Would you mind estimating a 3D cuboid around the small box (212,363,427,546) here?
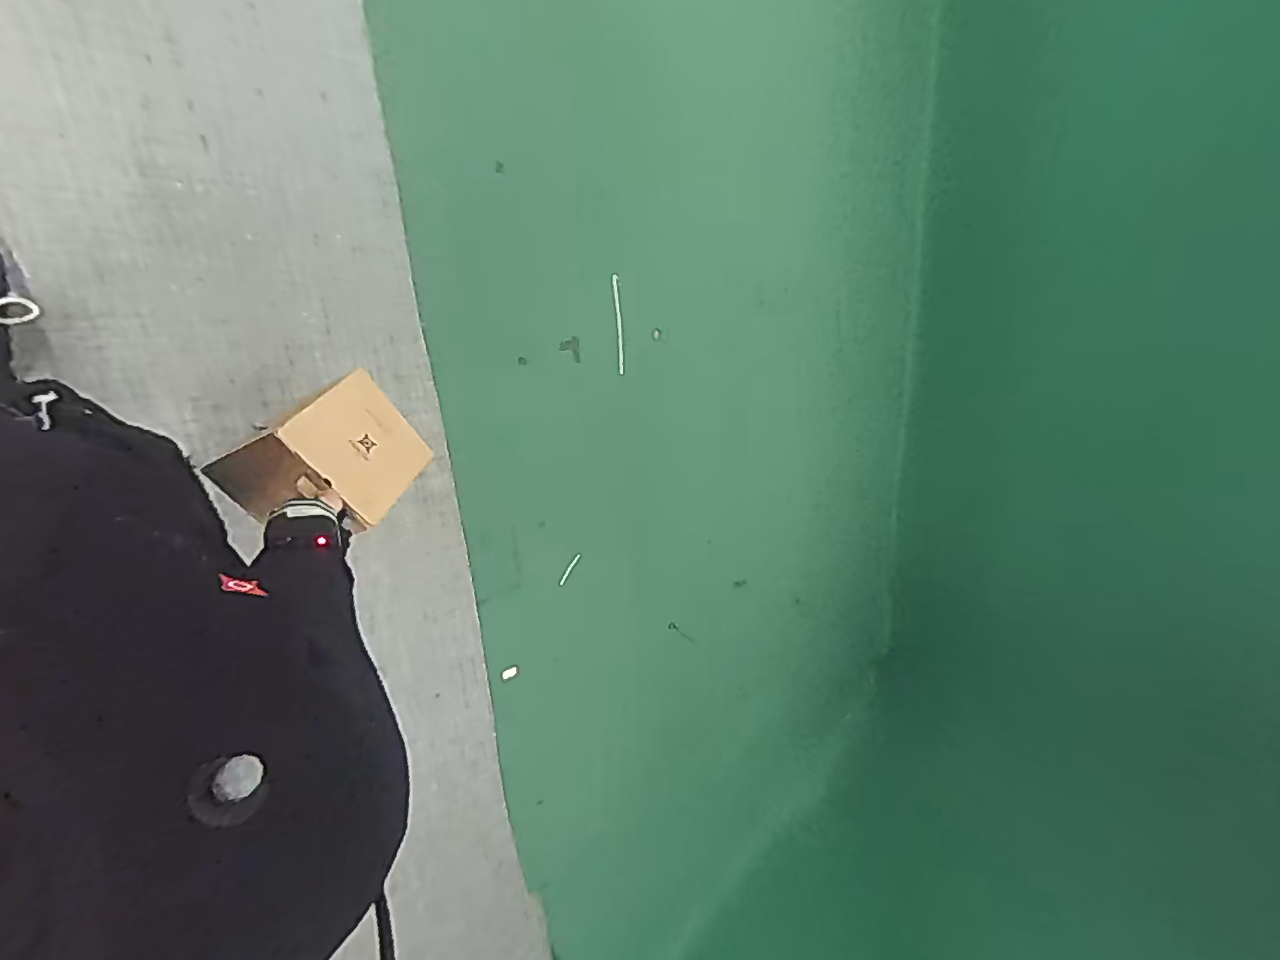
[{"bbox_3d":[-0.449,-0.031,0.762,0.168,0.176,0.179,59,27,-30],"label":"small box"}]
